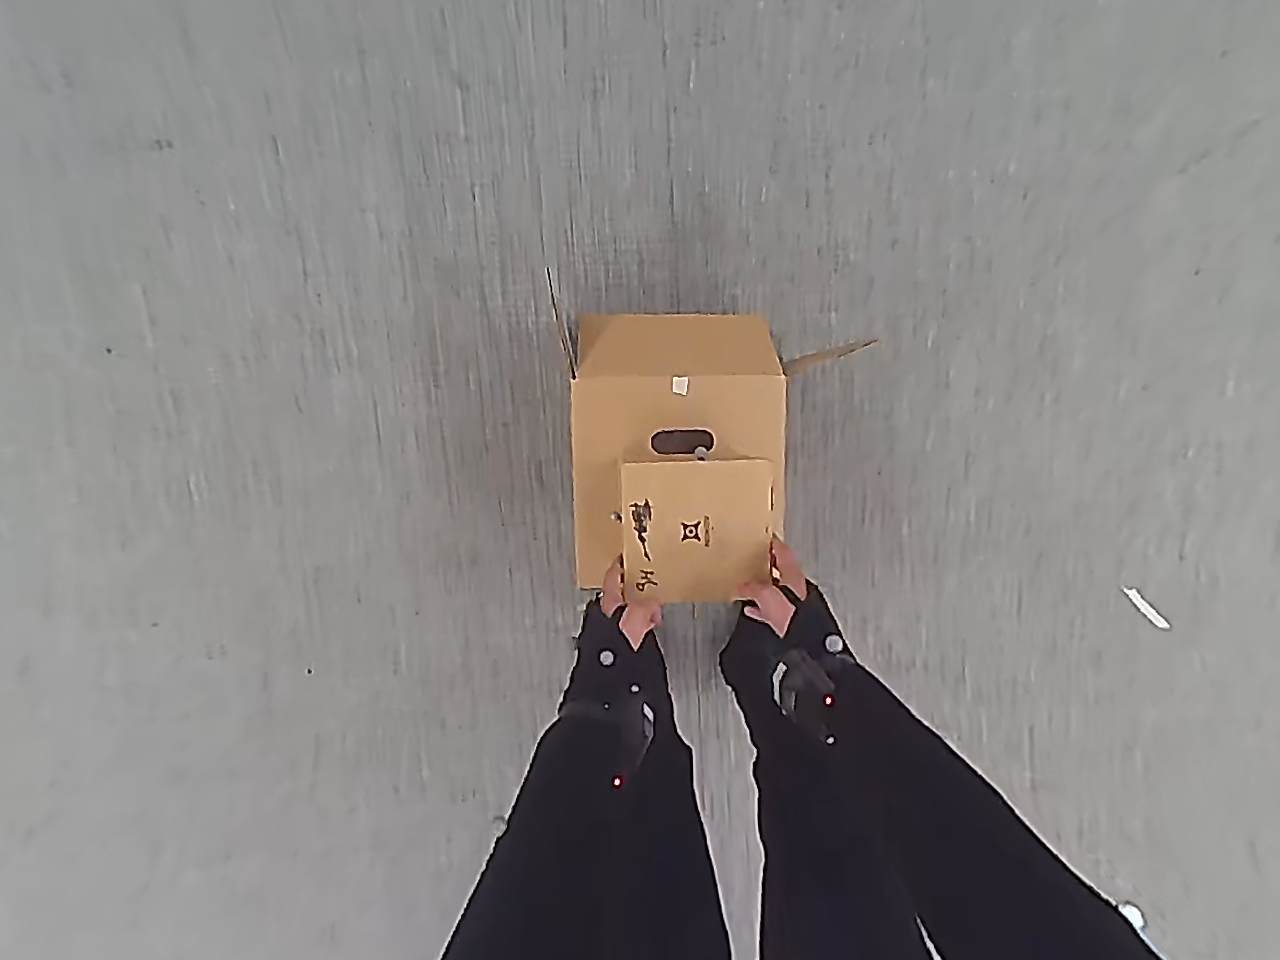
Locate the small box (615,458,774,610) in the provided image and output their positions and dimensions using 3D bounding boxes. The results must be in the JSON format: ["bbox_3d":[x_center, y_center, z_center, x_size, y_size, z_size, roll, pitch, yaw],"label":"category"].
[{"bbox_3d":[0.059,0.058,0.692,0.179,0.176,0.168,-2,94,-4],"label":"small box"}]
